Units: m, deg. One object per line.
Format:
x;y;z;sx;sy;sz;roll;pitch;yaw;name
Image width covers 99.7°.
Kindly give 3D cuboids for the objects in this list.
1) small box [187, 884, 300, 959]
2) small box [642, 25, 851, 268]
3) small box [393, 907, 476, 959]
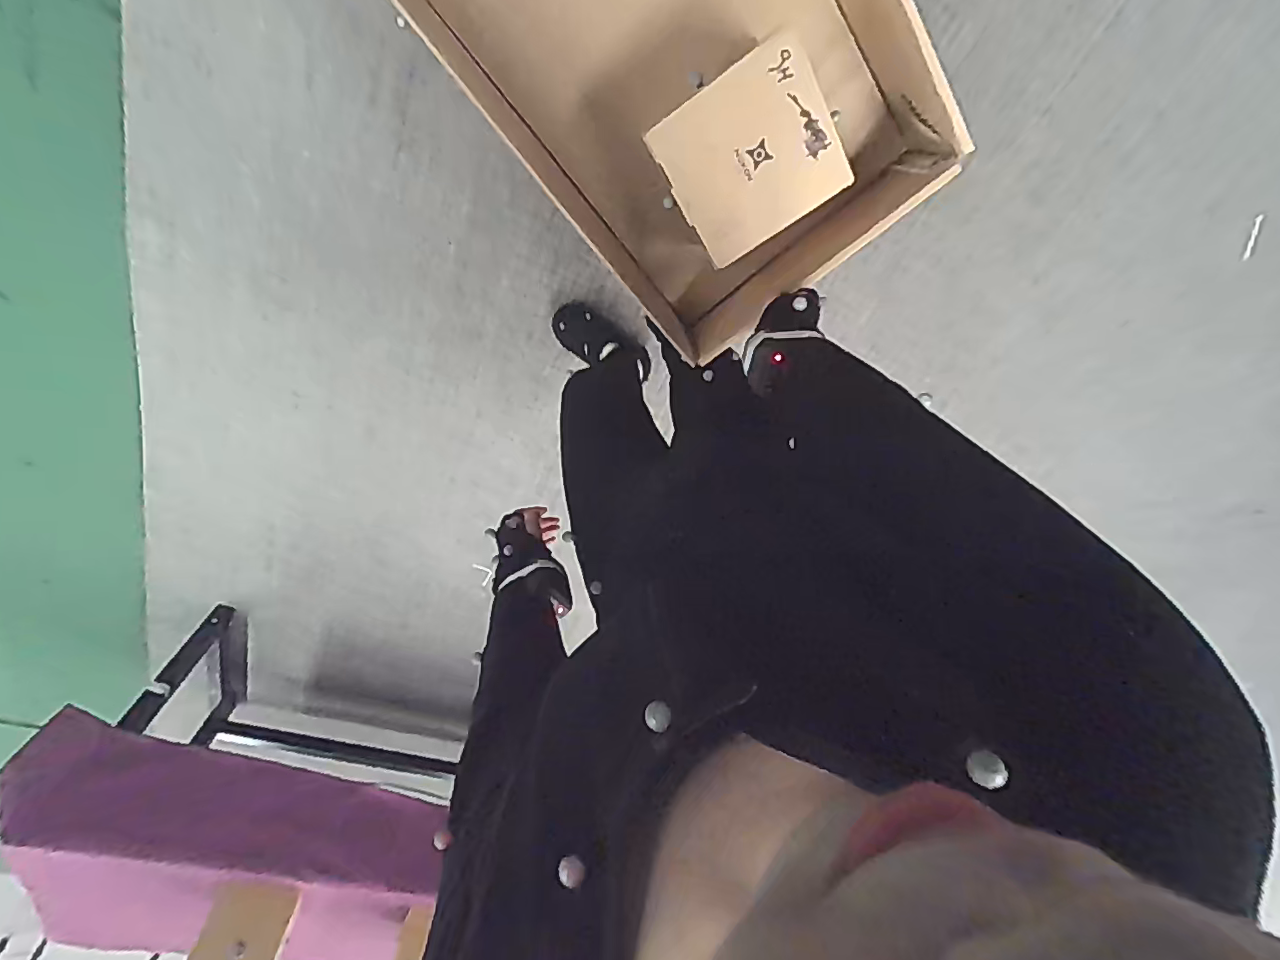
-0.944;1.095;1.287;0.179;0.176;0.168;20;120;-14;small box
0.119;-0.389;0.649;0.179;0.176;0.168;-29;120;18;small box
-0.538;1.233;1.390;0.179;0.176;0.168;19;121;-12;small box
